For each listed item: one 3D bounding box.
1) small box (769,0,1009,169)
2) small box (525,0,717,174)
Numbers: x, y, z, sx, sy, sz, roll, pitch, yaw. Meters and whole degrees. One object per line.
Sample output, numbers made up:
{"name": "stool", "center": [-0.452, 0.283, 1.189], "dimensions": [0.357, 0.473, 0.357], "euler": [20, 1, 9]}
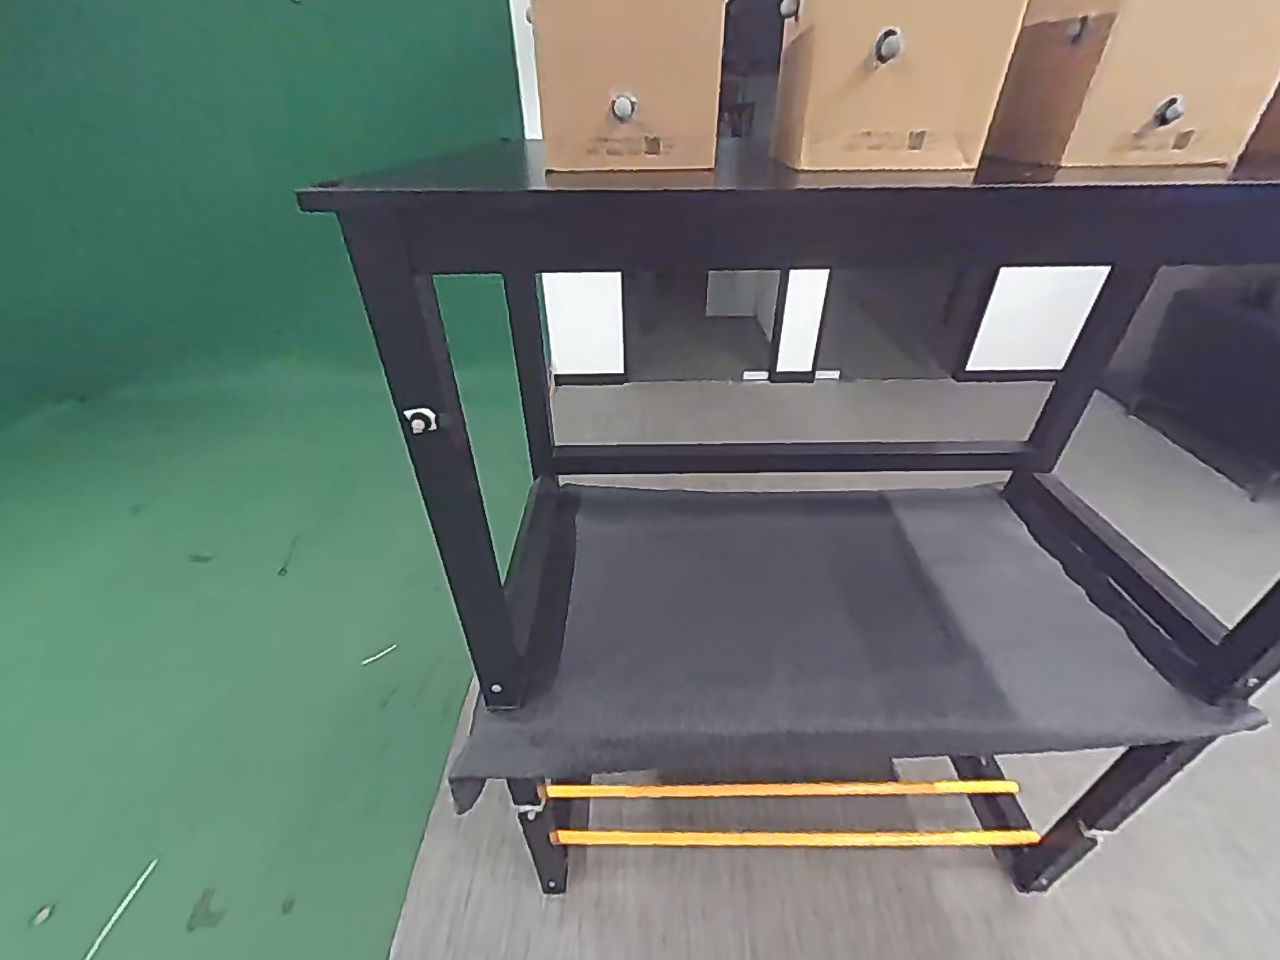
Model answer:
{"name": "small box", "center": [0.224, -0.401, 0.520], "dimensions": [0.168, 0.176, 0.179], "euler": [1, 35, 3]}
{"name": "small box", "center": [-0.020, -0.414, 0.542], "dimensions": [0.168, 0.176, 0.179], "euler": [-2, 36, -2]}
